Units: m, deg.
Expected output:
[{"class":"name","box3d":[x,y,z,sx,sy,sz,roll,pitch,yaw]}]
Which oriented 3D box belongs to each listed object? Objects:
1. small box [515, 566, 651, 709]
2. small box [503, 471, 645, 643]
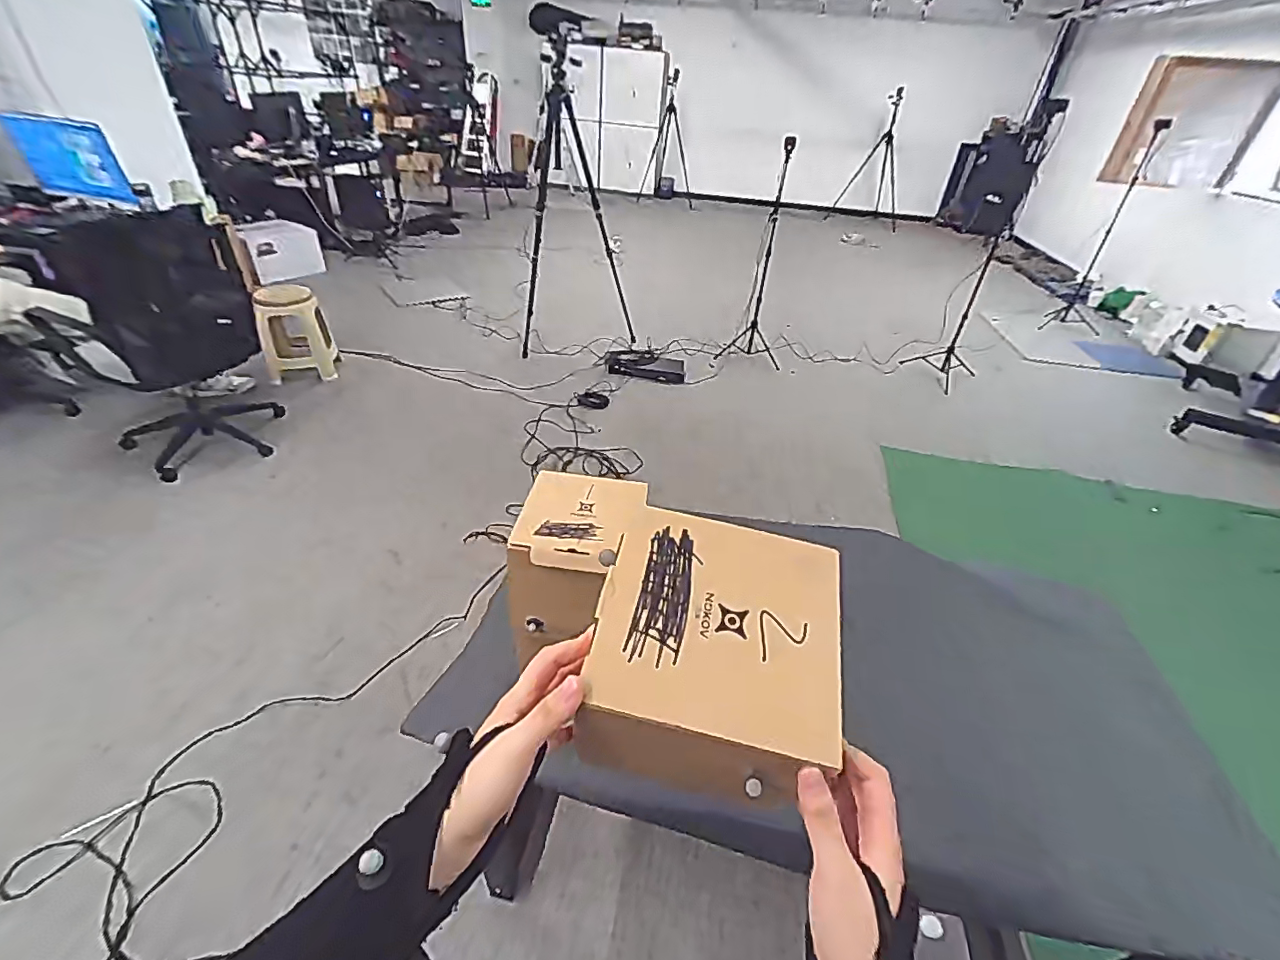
[{"class":"small box","box3d":[-0.085,0.243,0.872,0.179,0.176,0.168,8,35,6]},{"class":"small box","box3d":[-0.085,0.109,0.777,0.168,0.176,0.179,6,34,2]}]
